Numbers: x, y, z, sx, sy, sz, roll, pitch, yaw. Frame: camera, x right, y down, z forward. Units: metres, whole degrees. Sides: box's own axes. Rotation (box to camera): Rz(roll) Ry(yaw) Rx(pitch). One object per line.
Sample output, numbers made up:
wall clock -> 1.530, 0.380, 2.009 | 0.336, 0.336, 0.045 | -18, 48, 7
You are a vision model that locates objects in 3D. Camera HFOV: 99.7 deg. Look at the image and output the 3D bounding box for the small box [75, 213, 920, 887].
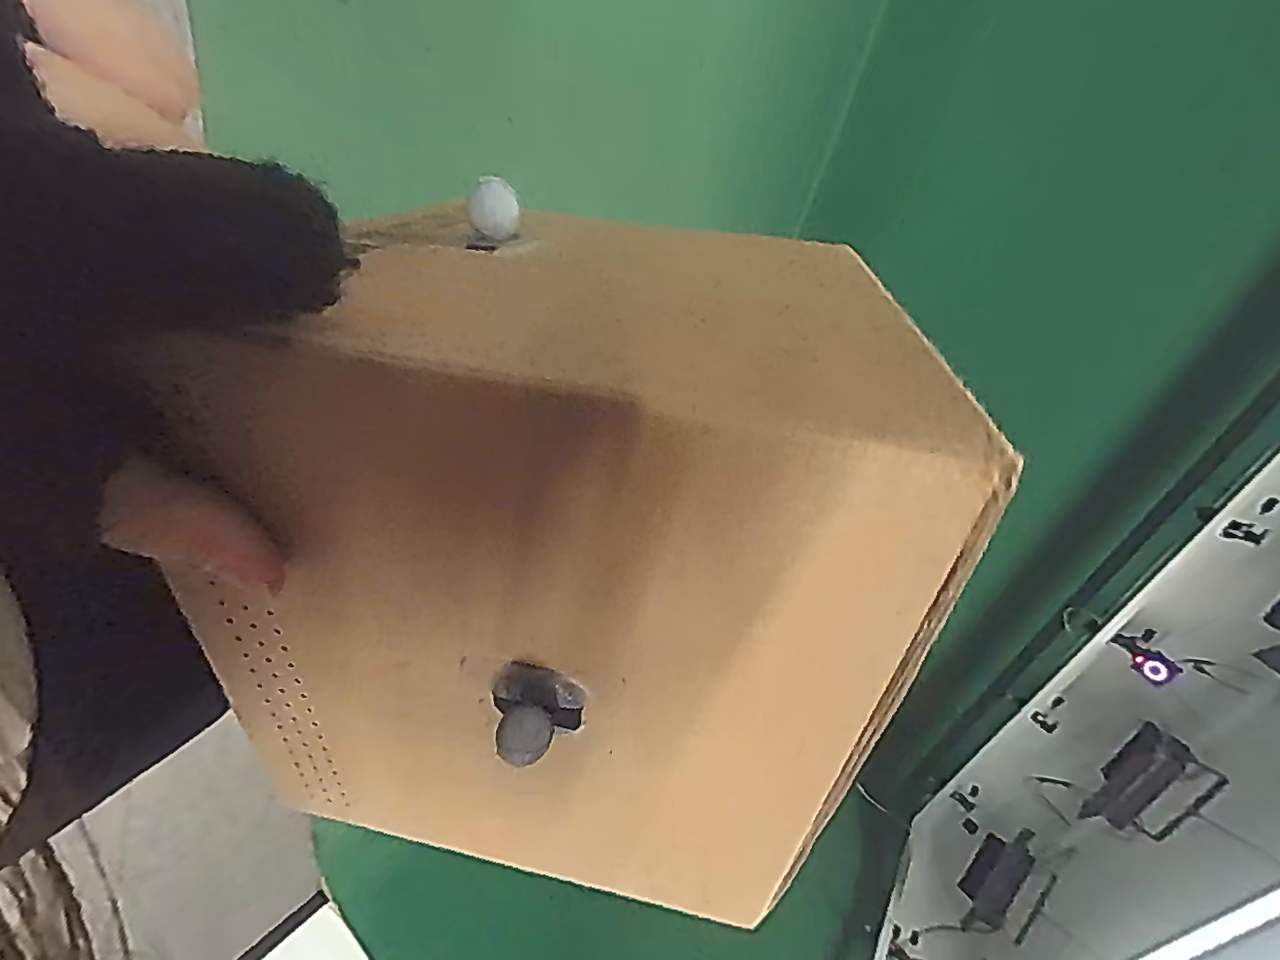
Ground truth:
small box -> -0.029, 0.009, 0.207 | 0.168, 0.176, 0.179 | -74, 170, -57
